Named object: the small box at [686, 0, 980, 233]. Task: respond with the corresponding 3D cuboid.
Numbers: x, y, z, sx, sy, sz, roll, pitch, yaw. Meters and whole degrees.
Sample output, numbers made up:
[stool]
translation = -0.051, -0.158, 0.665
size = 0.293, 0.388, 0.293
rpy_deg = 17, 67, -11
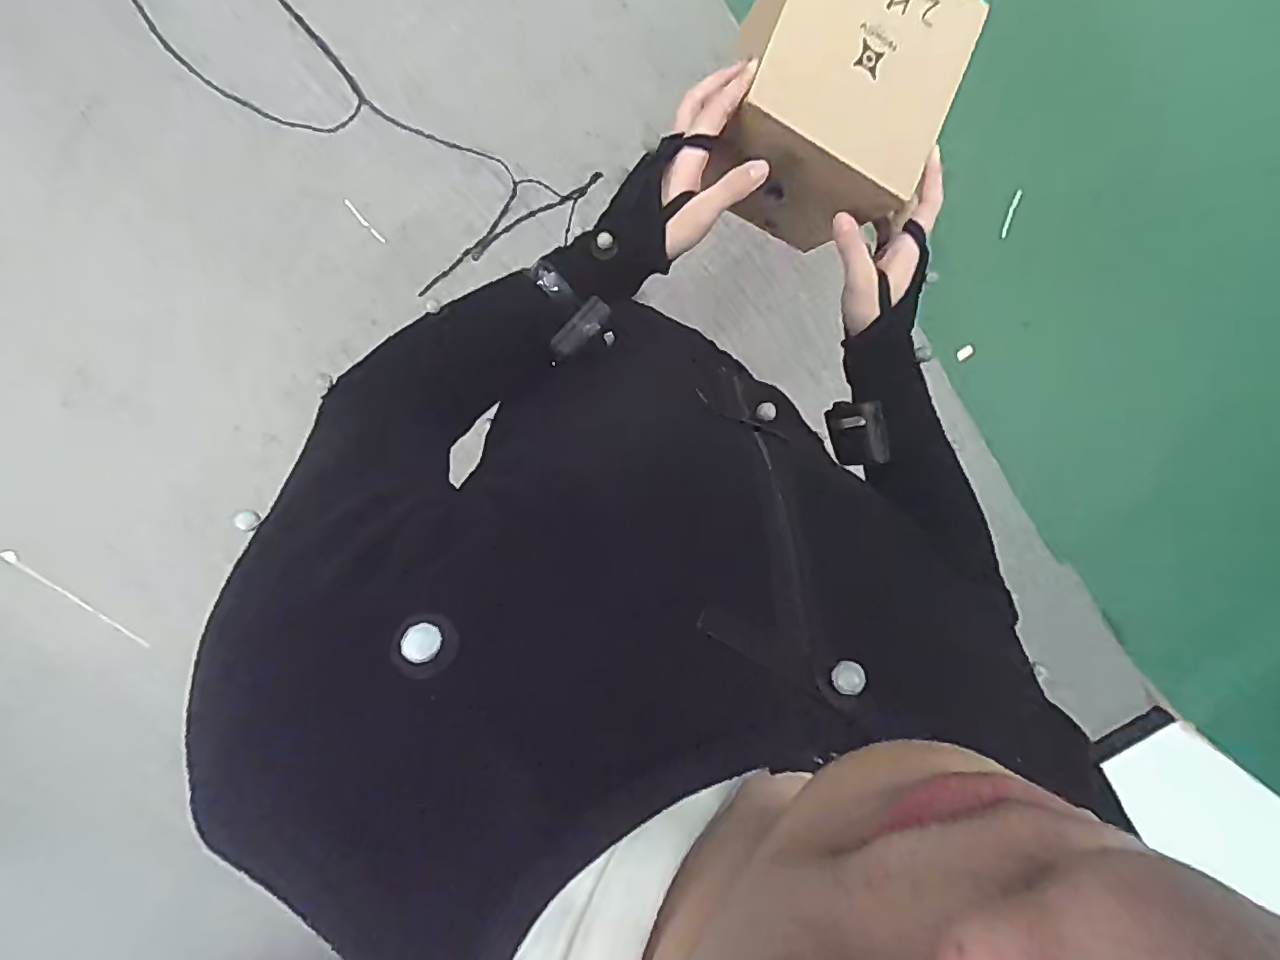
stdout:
[small box]
translation = 0.159, -0.364, 0.505
size = 0.168, 0.176, 0.179
rpy_deg = 21, 93, -16
